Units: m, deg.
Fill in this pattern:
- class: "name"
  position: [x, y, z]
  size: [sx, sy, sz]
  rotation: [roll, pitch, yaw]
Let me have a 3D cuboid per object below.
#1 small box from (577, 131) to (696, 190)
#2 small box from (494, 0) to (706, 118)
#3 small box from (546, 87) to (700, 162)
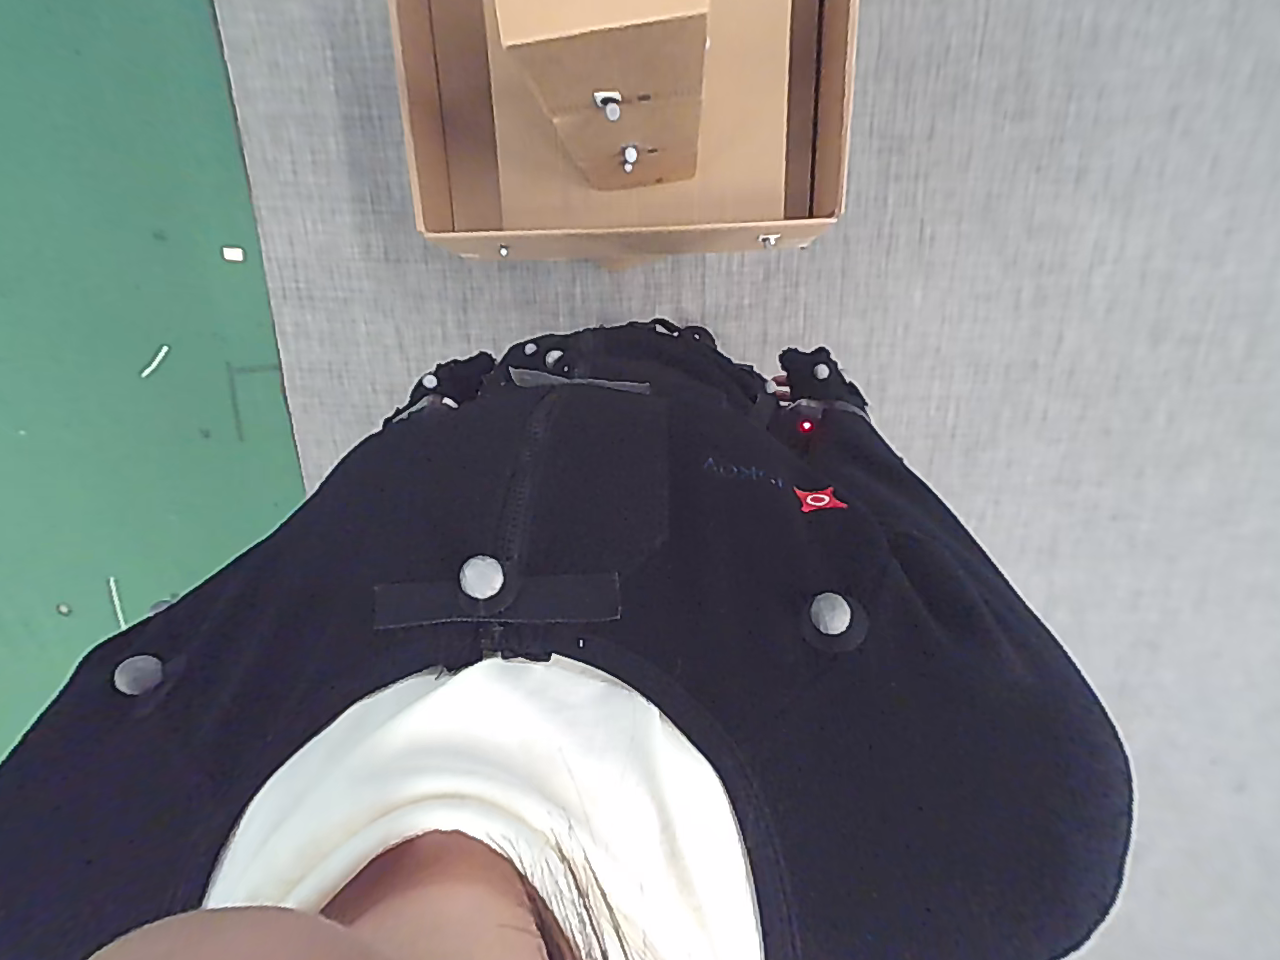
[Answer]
- class: "small box"
  position: [-0.007, -0.547, 0.786]
  size: [0.168, 0.176, 0.179]
  rotation: [-5, 104, 7]
- class: "small box"
  position: [-0.032, -0.456, 0.475]
  size: [0.168, 0.176, 0.179]
  rotation: [-5, 106, 7]
- class: "small box"
  position: [-0.021, -0.499, 0.630]
  size: [0.168, 0.176, 0.179]
  rotation: [-5, 106, 5]
